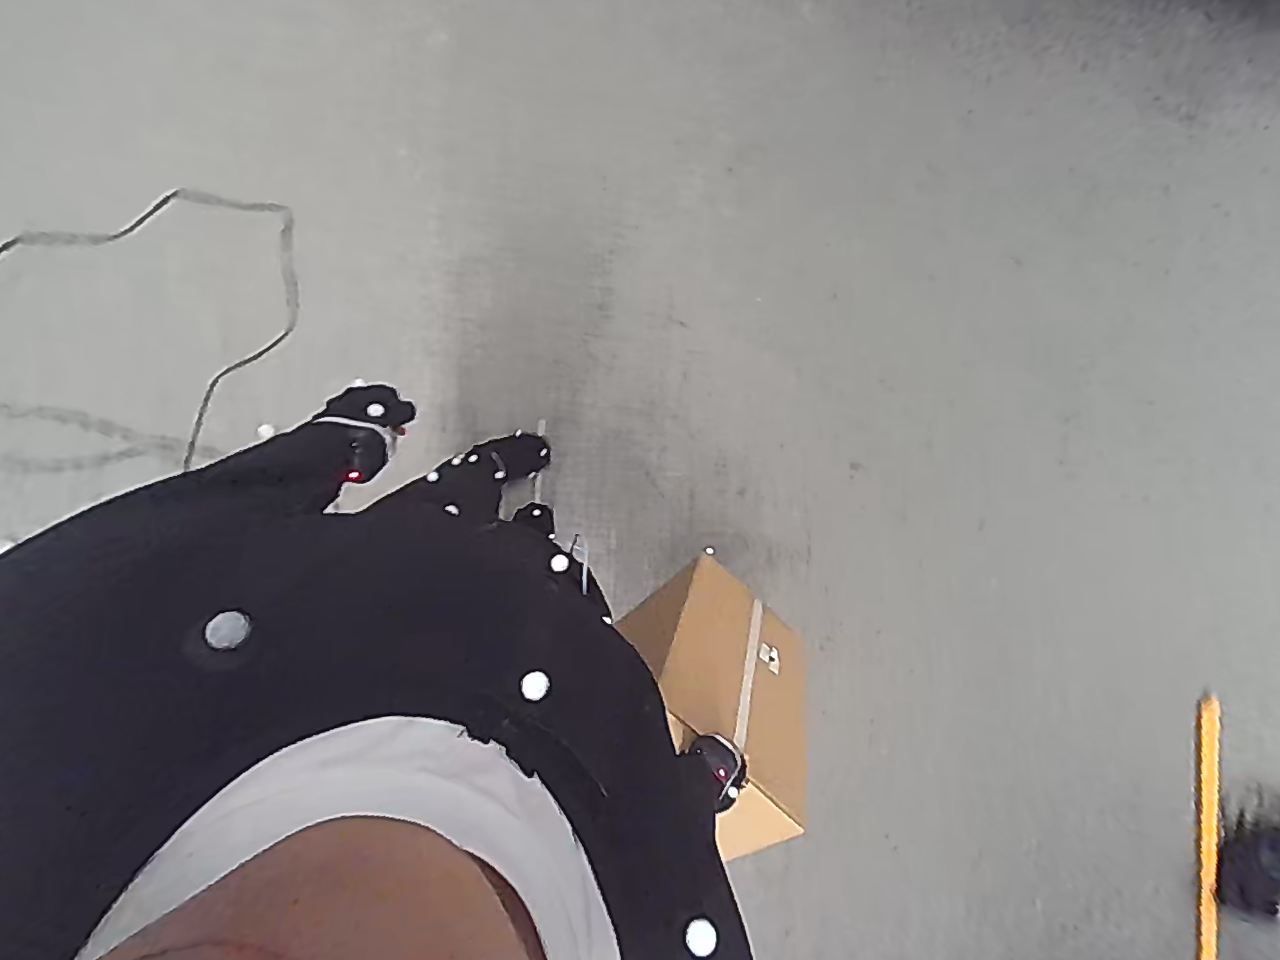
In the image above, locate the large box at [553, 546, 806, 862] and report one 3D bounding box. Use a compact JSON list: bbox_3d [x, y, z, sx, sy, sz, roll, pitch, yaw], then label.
[{"bbox_3d":[0.096,0.412,1.045,0.320,0.408,0.320,43,119,-5],"label":"large box"}]
